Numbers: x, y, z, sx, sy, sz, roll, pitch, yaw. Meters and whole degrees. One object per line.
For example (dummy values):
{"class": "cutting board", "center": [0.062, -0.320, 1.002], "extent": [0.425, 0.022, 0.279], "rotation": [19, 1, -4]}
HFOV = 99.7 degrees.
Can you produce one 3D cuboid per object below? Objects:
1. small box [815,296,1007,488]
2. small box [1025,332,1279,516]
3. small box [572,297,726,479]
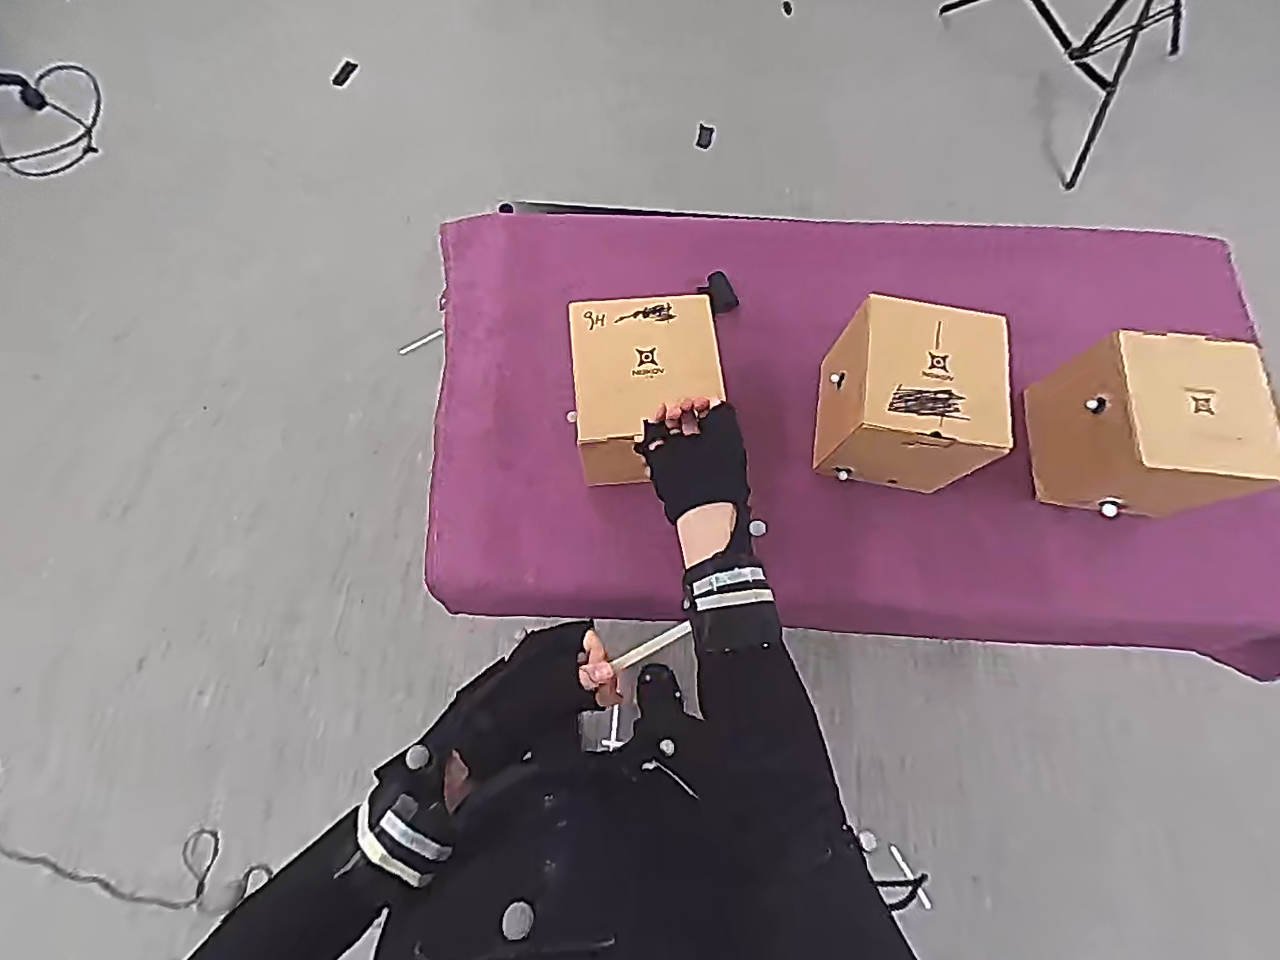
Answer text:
{"class": "small box", "center": [0.336, -0.102, 0.696], "extent": [0.168, 0.176, 0.179], "rotation": [11, 71, 1]}
{"class": "small box", "center": [0.636, -0.064, 0.696], "extent": [0.168, 0.176, 0.179], "rotation": [6, 73, 1]}
{"class": "small box", "center": [0.006, -0.105, 0.685], "extent": [0.168, 0.176, 0.179], "rotation": [-4, 73, -4]}
